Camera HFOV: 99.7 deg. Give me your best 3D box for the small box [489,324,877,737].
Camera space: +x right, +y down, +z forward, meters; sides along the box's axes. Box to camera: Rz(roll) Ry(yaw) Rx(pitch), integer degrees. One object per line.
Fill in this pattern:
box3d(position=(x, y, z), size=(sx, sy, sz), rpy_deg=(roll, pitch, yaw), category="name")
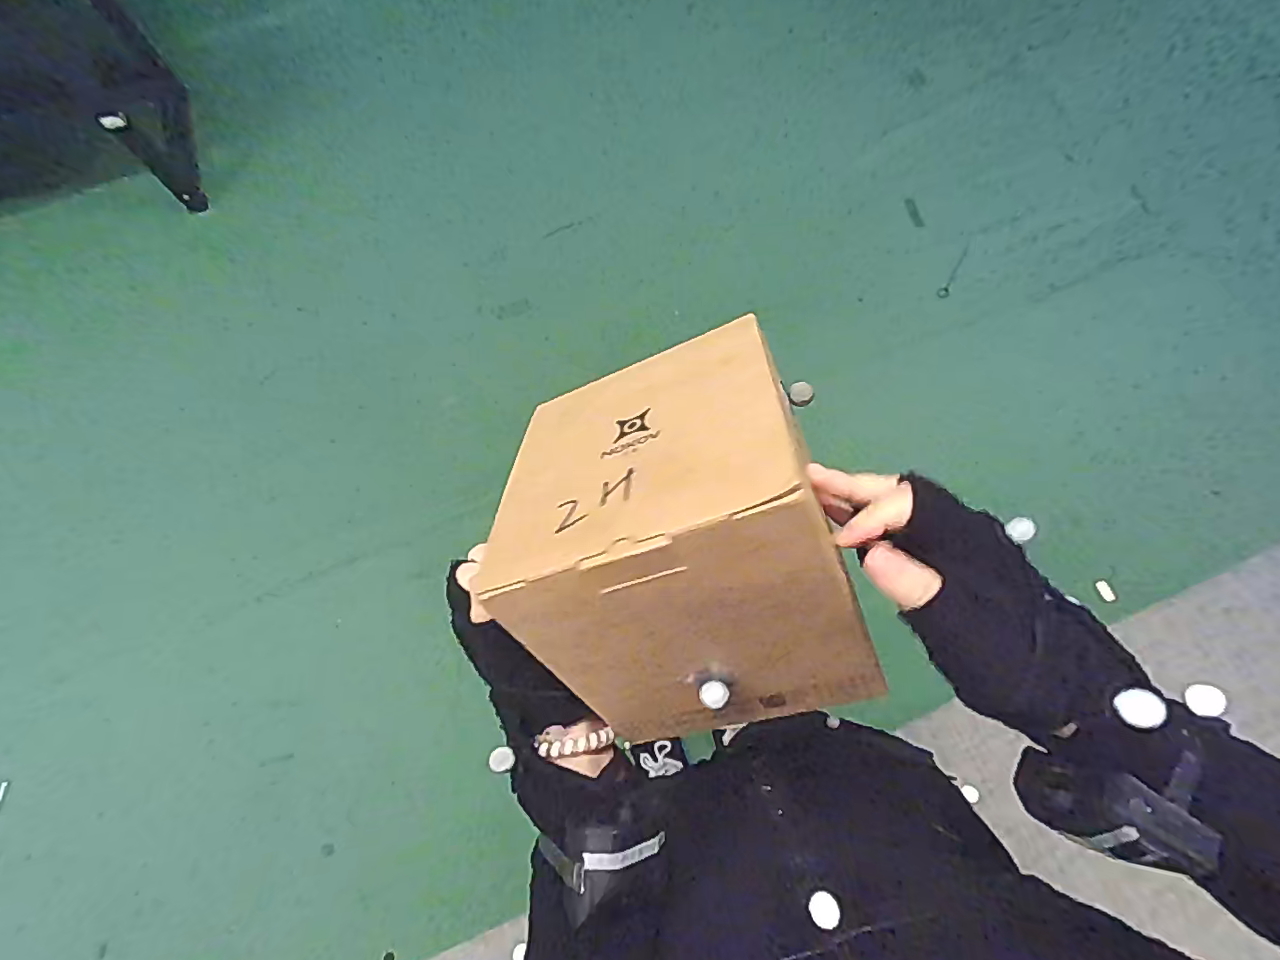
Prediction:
box3d(position=(0.035, 0.034, 0.351), size=(0.168, 0.176, 0.179), rpy_deg=(-19, 37, 16), category="small box")
